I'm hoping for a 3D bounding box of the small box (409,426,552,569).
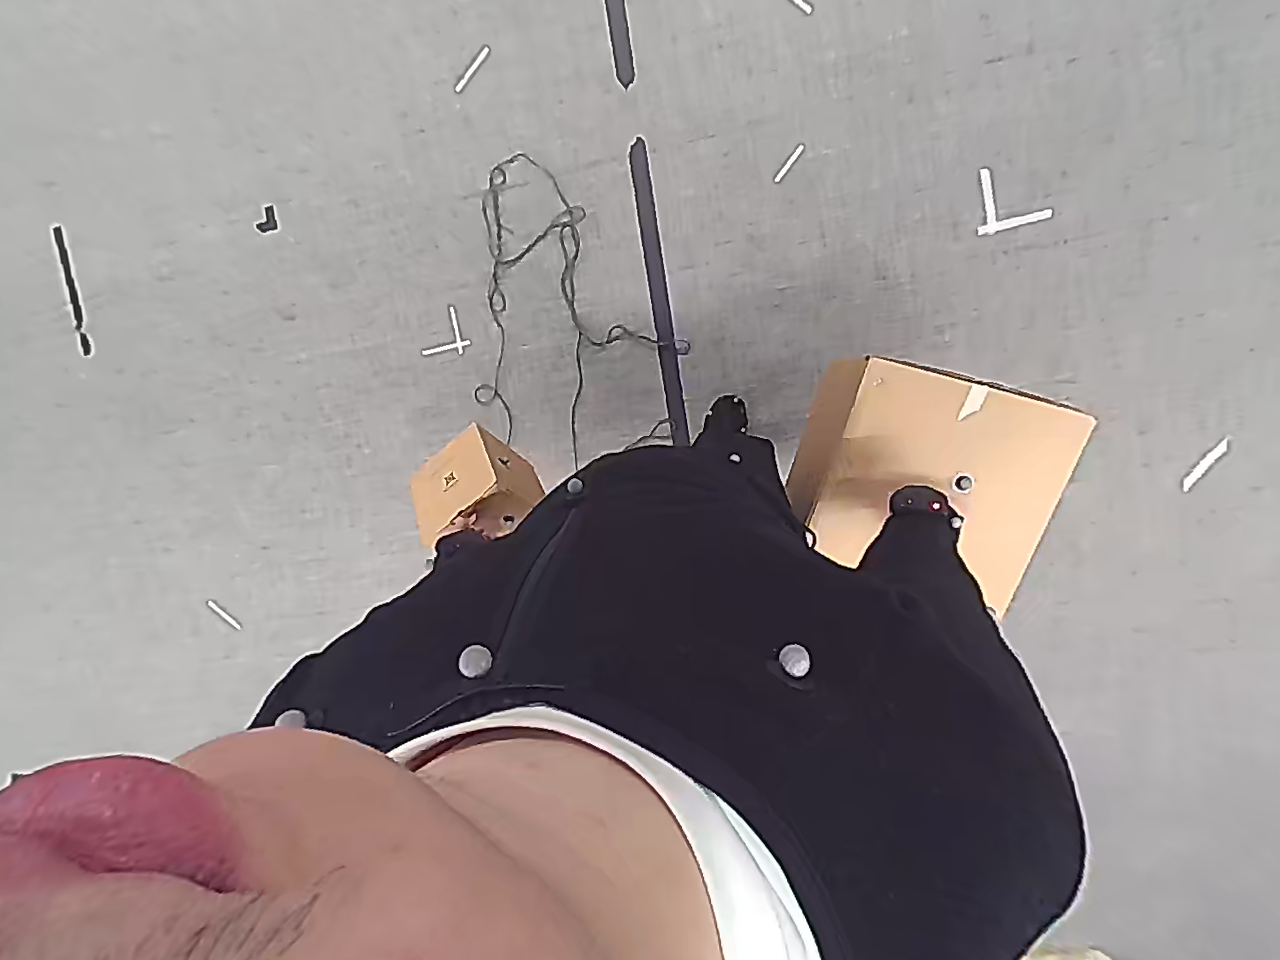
[{"bbox_3d":[-0.286,0.042,0.983,0.168,0.176,0.179,-38,49,6],"label":"small box"}]
